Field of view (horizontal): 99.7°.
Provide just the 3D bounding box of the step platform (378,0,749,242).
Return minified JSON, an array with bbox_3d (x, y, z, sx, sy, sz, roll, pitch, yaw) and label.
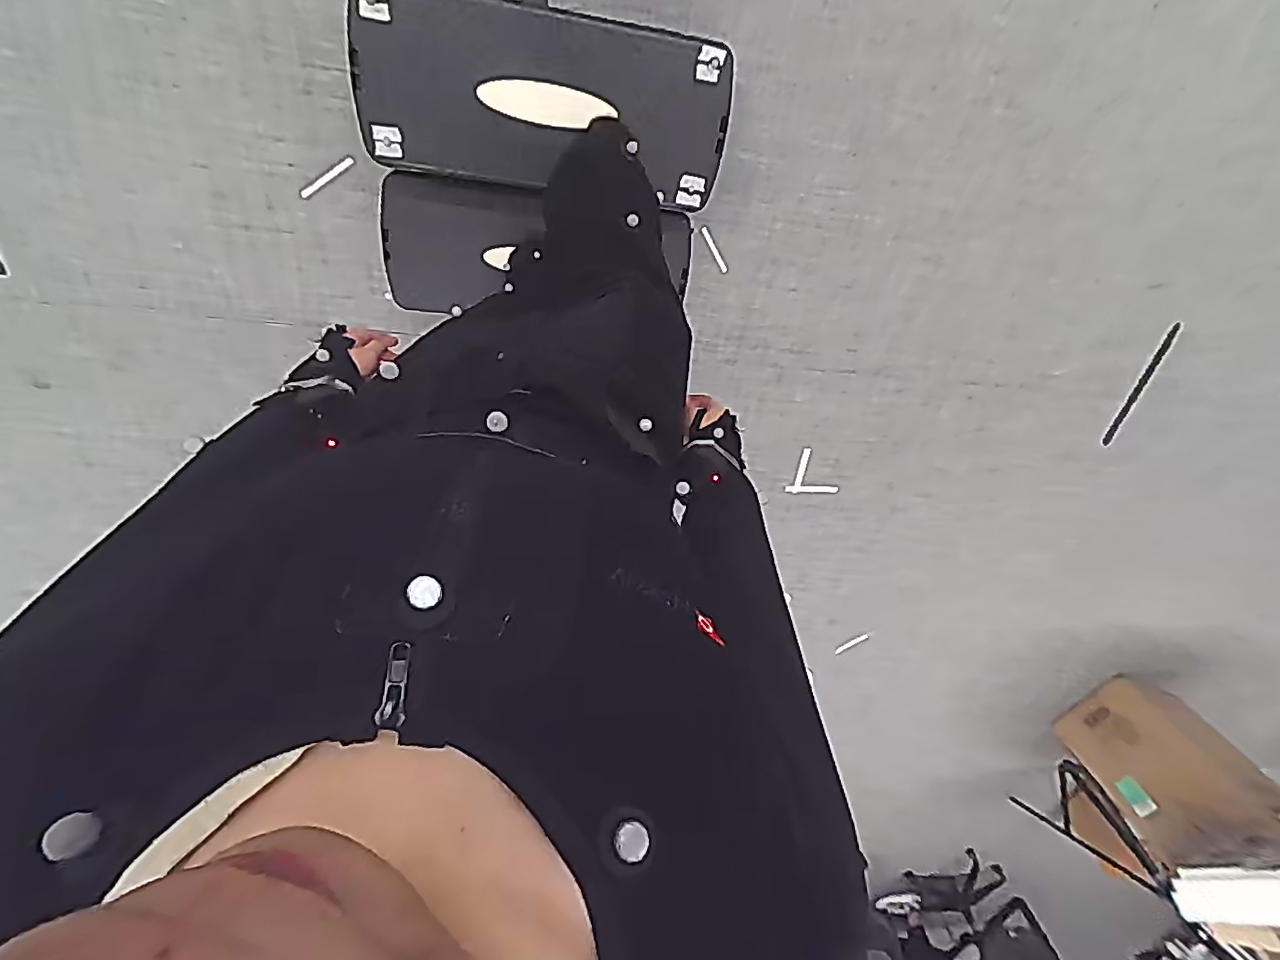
[{"bbox_3d":[-0.138,-0.689,1.065,0.684,0.204,0.286,7,119,-12],"label":"step platform"}]
